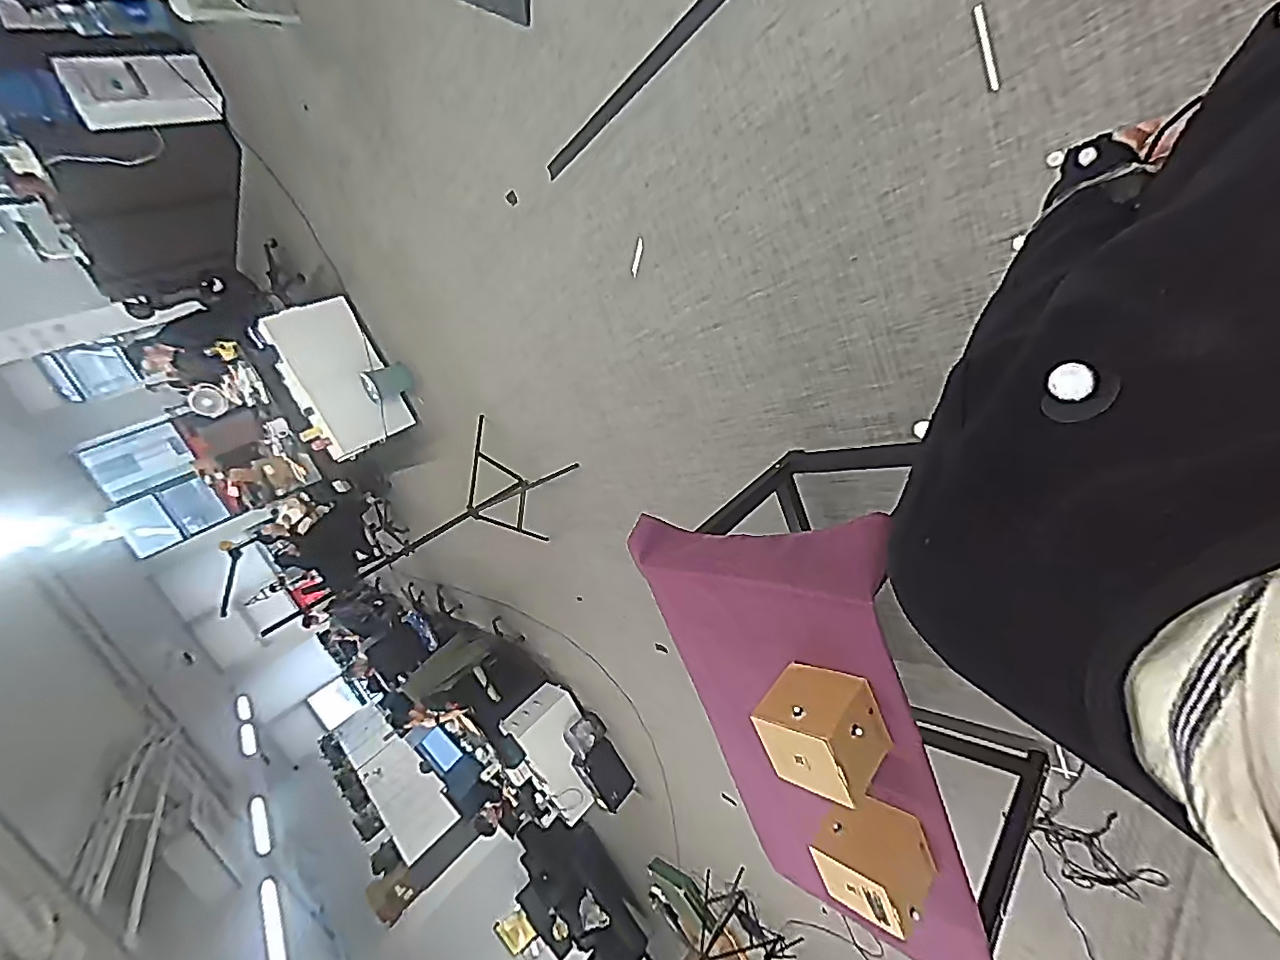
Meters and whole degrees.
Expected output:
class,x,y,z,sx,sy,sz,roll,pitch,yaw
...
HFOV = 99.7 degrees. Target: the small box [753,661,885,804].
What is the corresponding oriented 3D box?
class,x,y,z,sx,sy,sz,roll,pitch,yaw
small box,0.363,0.487,1.074,0.179,0.176,0.168,-7,113,52
